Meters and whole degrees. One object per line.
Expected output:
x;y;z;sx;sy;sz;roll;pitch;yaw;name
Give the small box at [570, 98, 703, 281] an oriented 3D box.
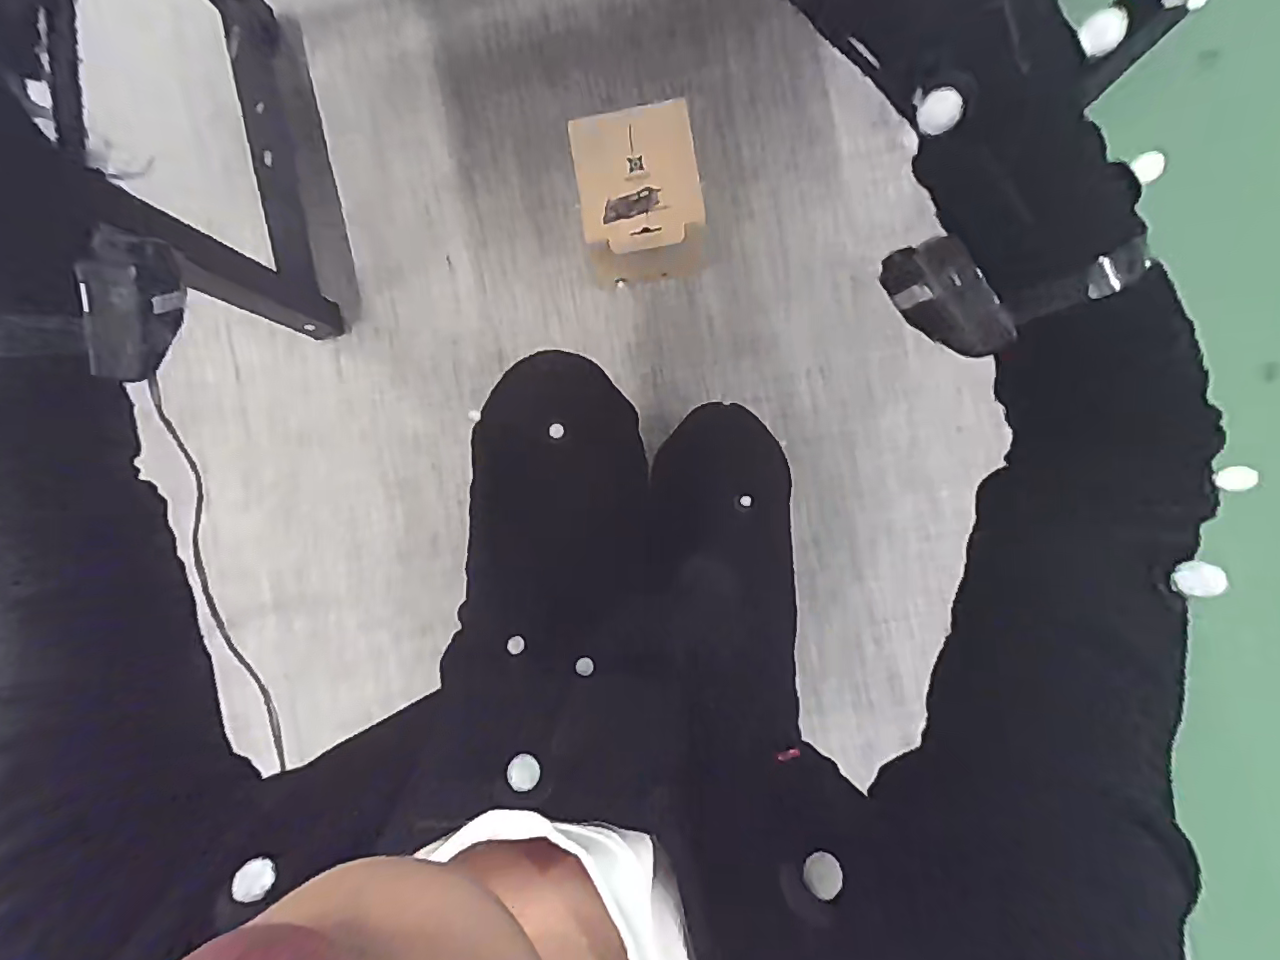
0.002;-0.415;0.810;0.168;0.176;0.179;-9;87;4;small box
